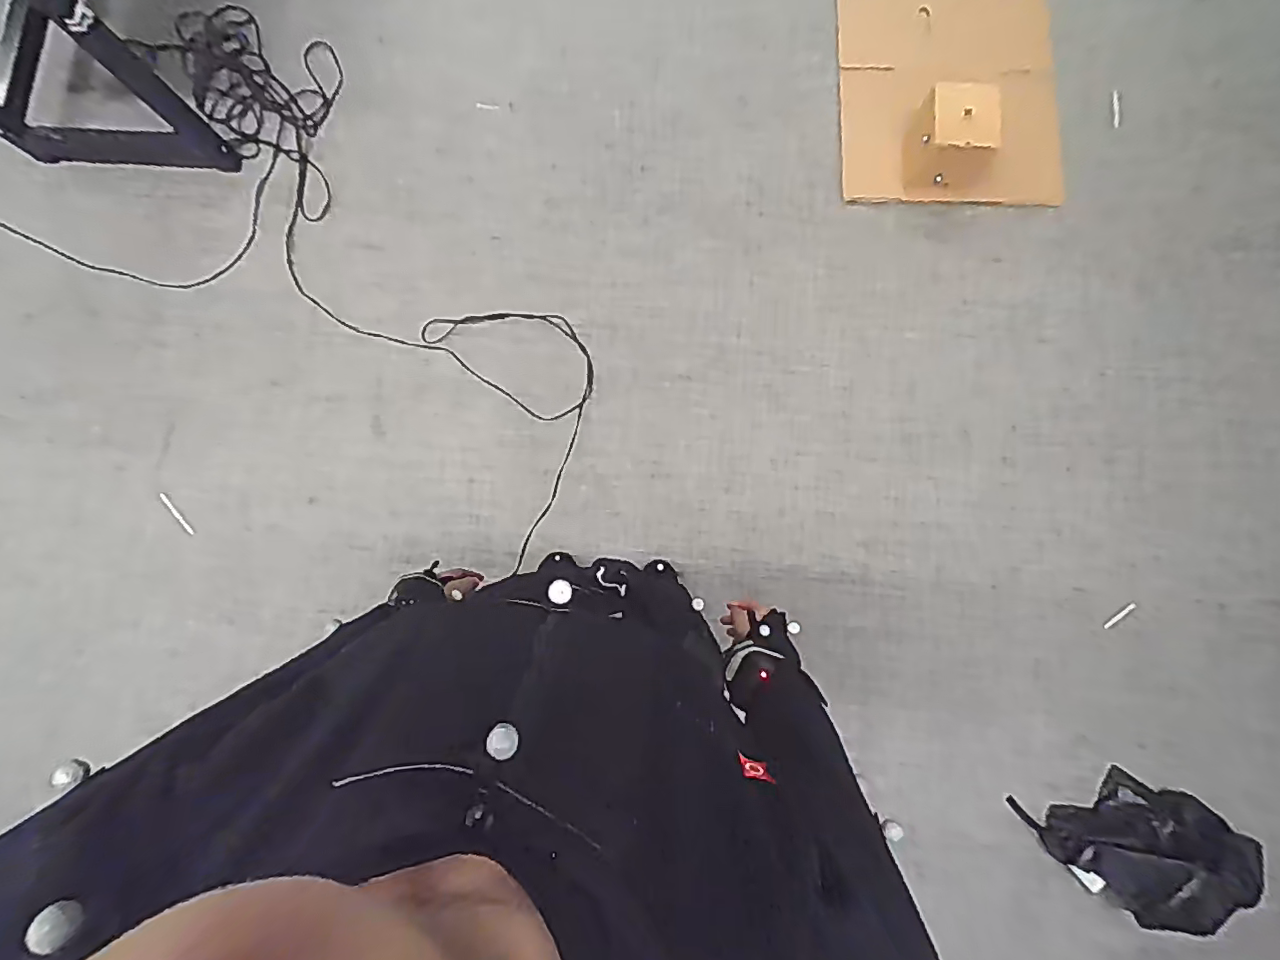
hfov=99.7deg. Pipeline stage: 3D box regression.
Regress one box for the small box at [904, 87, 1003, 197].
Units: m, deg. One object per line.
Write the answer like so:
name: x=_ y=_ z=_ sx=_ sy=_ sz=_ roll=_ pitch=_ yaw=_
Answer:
small box: x=0.811 y=-0.878 z=1.414 sx=0.168 sy=0.176 sz=0.179 roll=3 pitch=83 yaw=1
